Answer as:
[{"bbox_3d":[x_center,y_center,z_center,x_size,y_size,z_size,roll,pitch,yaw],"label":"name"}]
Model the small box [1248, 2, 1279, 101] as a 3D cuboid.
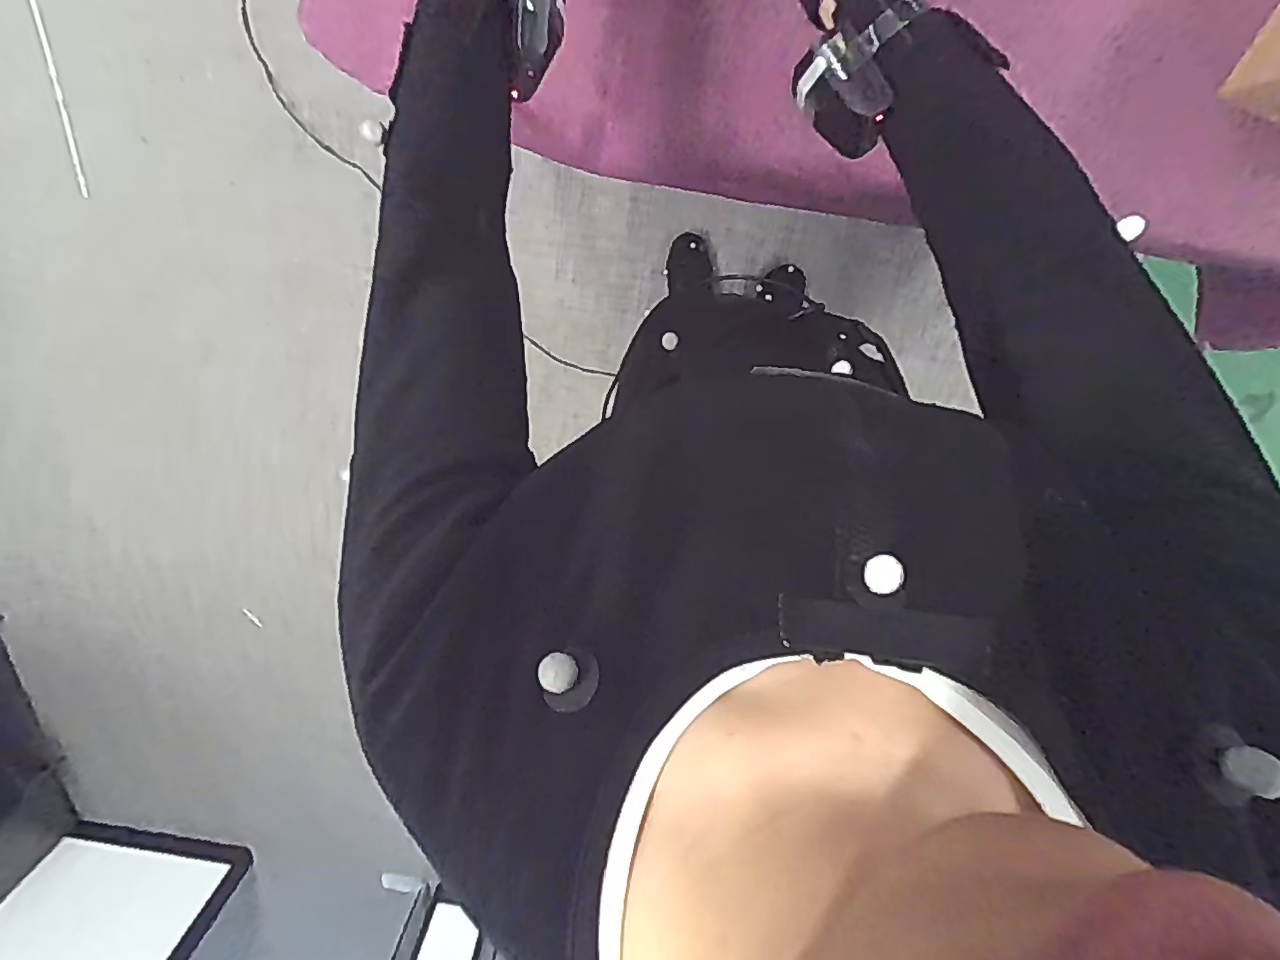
[{"bbox_3d":[0.657,-0.390,0.418,0.168,0.176,0.179,20,115,-5],"label":"small box"}]
